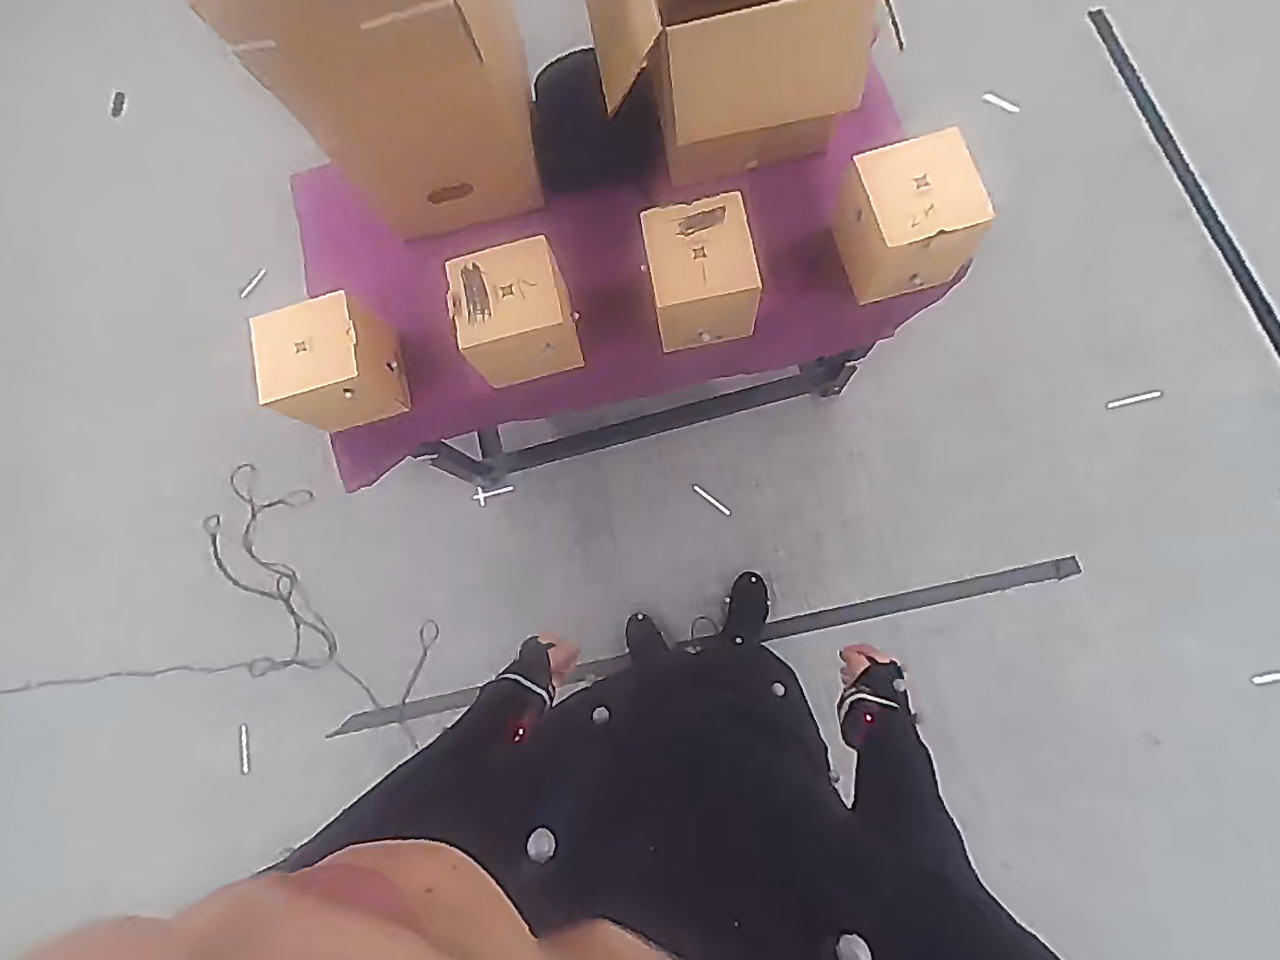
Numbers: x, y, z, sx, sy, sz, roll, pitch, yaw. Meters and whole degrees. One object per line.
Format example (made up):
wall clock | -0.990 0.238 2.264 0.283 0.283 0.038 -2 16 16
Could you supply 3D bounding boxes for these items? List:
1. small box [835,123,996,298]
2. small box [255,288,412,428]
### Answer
small box | 0.442 -0.439 0.903 0.168 0.176 0.179 -14 78 5
small box | -0.542 -0.208 0.971 0.179 0.176 0.168 -16 77 2
